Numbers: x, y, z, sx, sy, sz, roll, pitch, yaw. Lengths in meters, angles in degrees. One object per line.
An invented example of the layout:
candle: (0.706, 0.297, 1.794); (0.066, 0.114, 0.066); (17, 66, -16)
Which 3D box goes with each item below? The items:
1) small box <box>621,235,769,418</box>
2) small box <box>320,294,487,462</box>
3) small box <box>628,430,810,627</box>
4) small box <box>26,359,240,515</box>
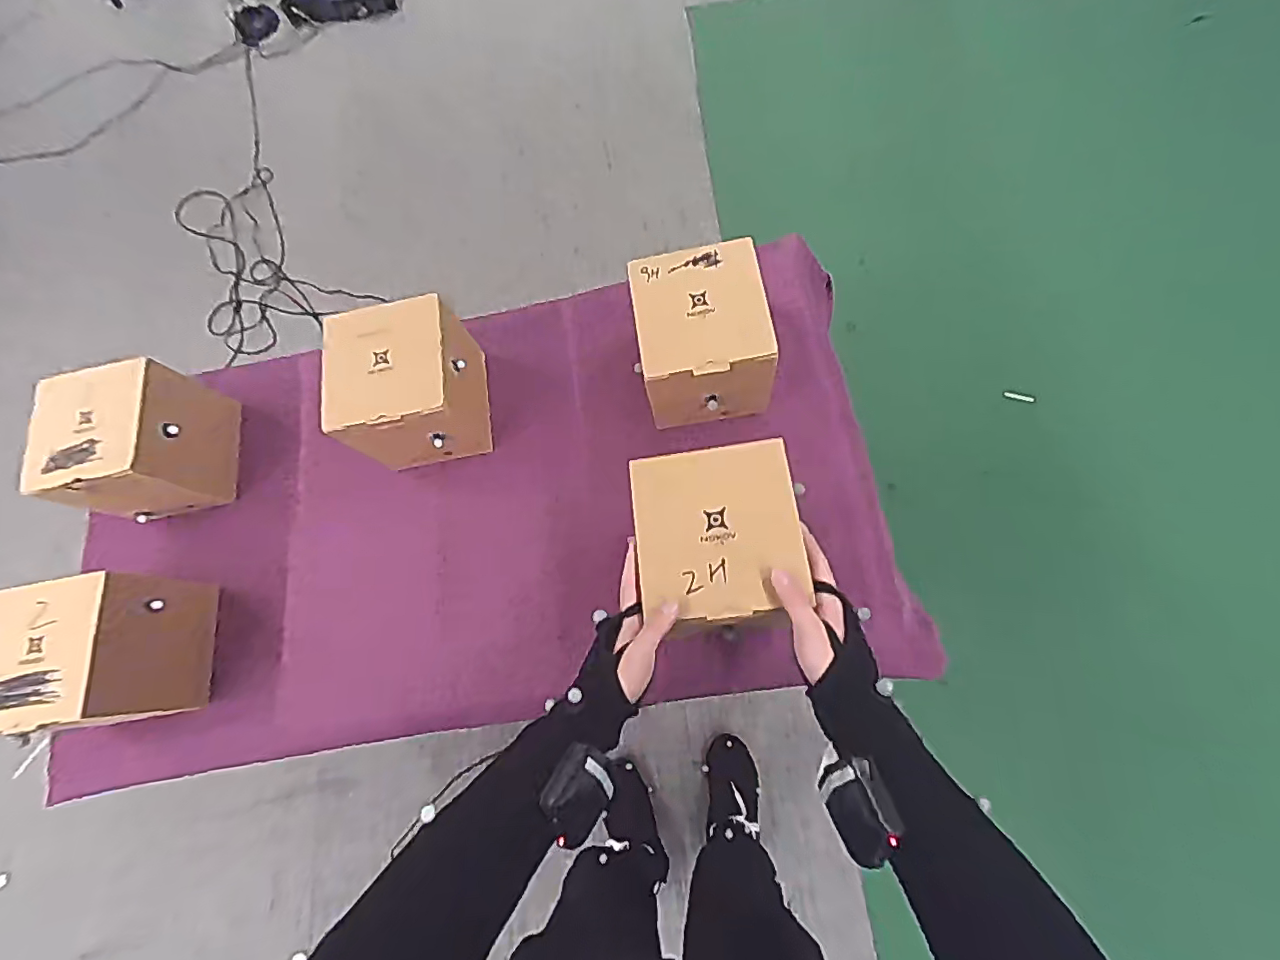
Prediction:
small box: (0.077, -0.197, 0.749); (0.168, 0.176, 0.179); (-10, 74, 5)
small box: (-0.333, -0.134, 0.788); (0.168, 0.176, 0.179); (-11, 73, 4)
small box: (0.087, 0.066, 0.617); (0.168, 0.176, 0.179); (-9, 70, 8)
small box: (-0.747, -0.052, 0.817); (0.168, 0.176, 0.179); (-12, 73, 4)
